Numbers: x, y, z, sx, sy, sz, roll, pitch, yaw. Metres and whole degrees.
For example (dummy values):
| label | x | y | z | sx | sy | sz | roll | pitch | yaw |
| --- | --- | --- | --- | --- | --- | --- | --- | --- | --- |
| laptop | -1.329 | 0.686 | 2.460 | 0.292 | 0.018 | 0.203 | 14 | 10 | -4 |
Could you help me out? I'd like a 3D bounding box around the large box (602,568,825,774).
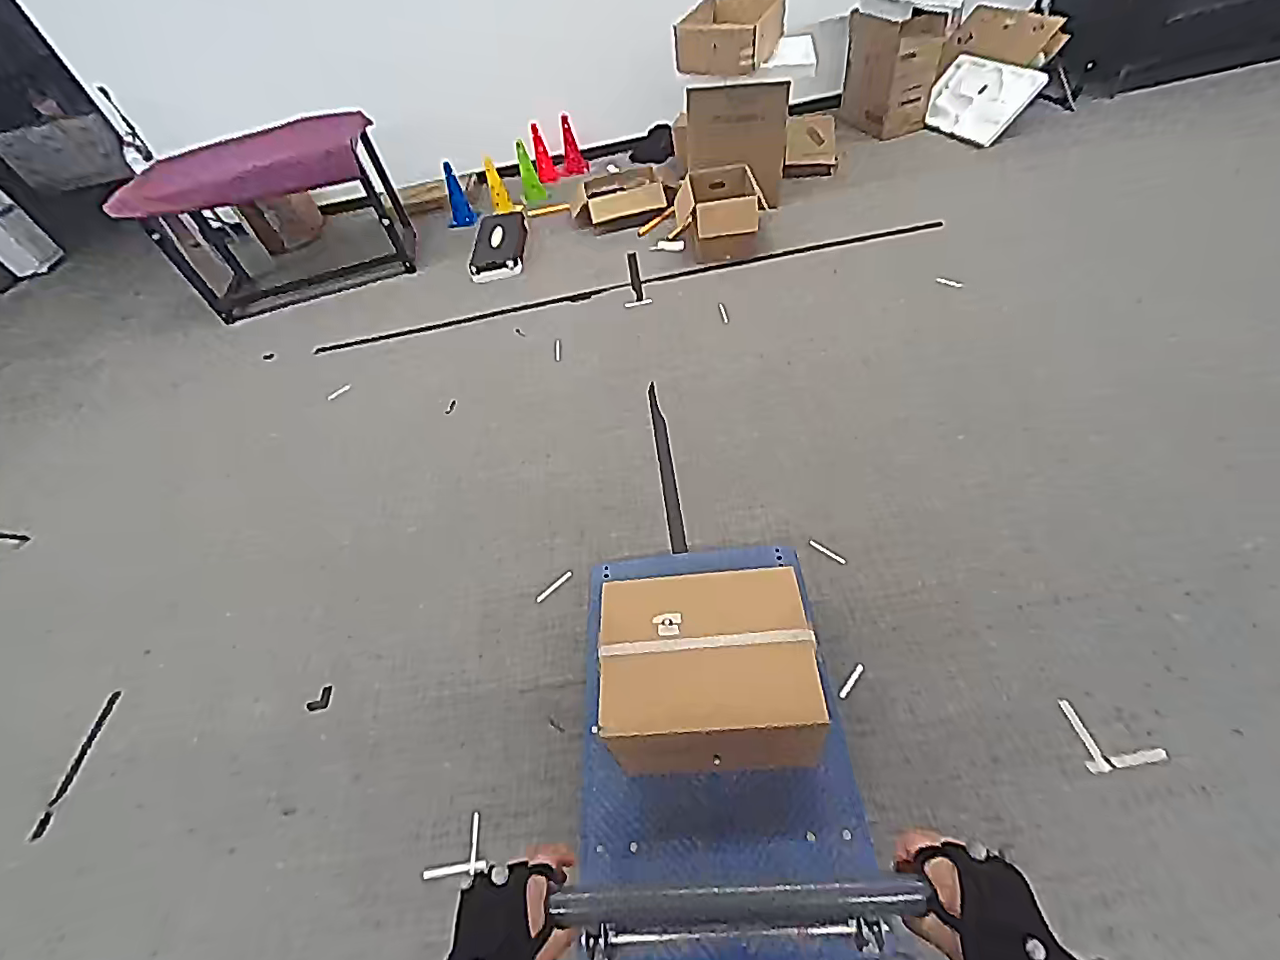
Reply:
| label | x | y | z | sx | sy | sz | roll | pitch | yaw |
| --- | --- | --- | --- | --- | --- | --- | --- | --- | --- |
| large box | 0.148 | 0.420 | 1.166 | 0.408 | 0.320 | 0.320 | -7 | 48 | 6 |
